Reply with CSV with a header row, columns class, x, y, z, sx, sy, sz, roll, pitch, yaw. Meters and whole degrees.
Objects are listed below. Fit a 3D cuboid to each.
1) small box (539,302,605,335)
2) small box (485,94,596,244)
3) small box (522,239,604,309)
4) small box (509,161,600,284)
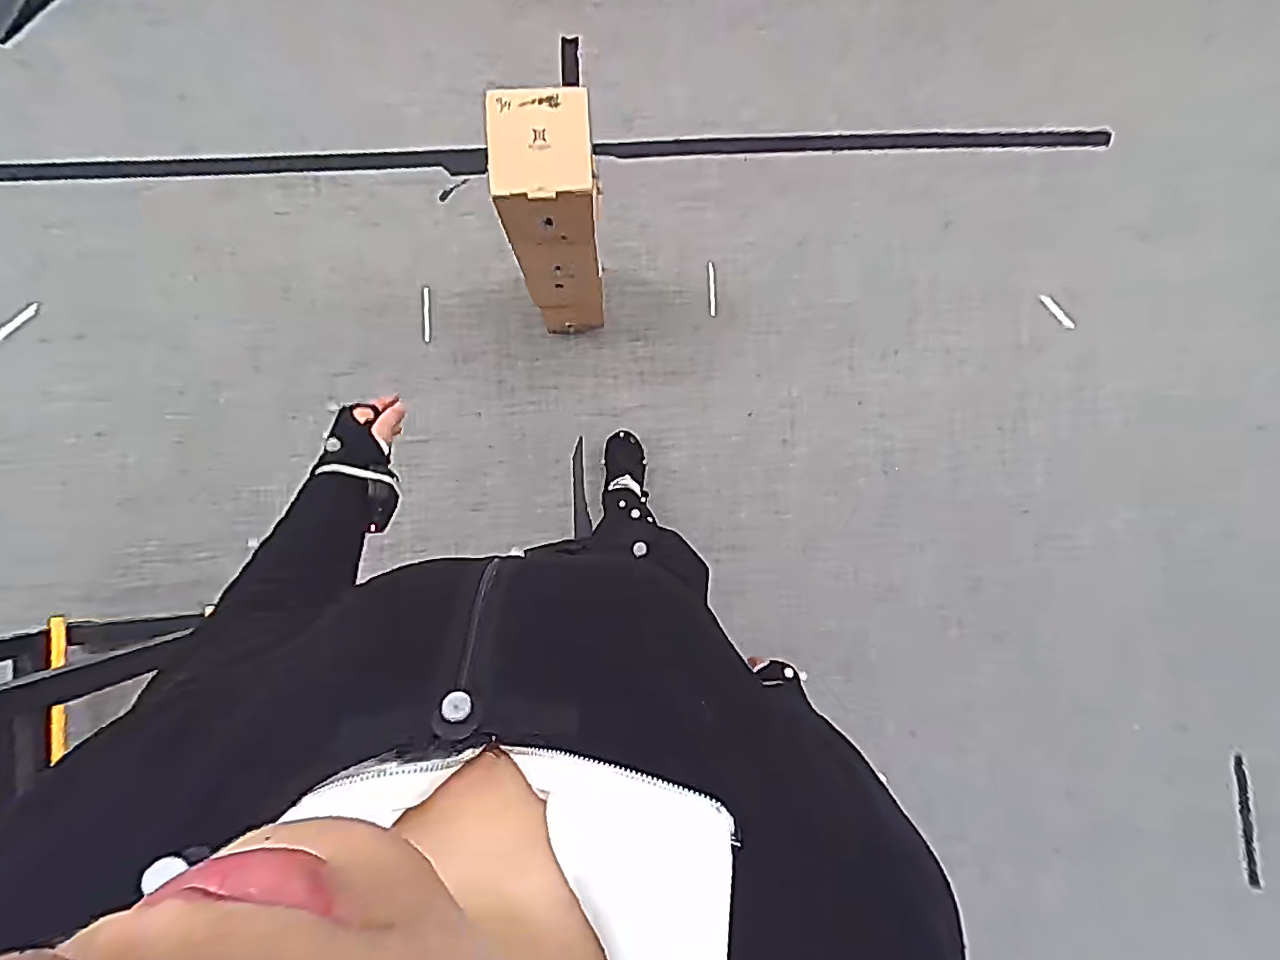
class,x,y,z,sx,sy,sz,roll,pitch,yaw
small box,-0.185,-0.502,1.435,0.168,0.176,0.179,-8,89,-2
small box,-0.165,-0.528,0.943,0.168,0.176,0.179,-3,88,-2
small box,-0.179,-0.511,1.271,0.179,0.176,0.168,-4,87,-3
small box,-0.168,-0.522,1.107,0.168,0.176,0.179,0,87,-2
